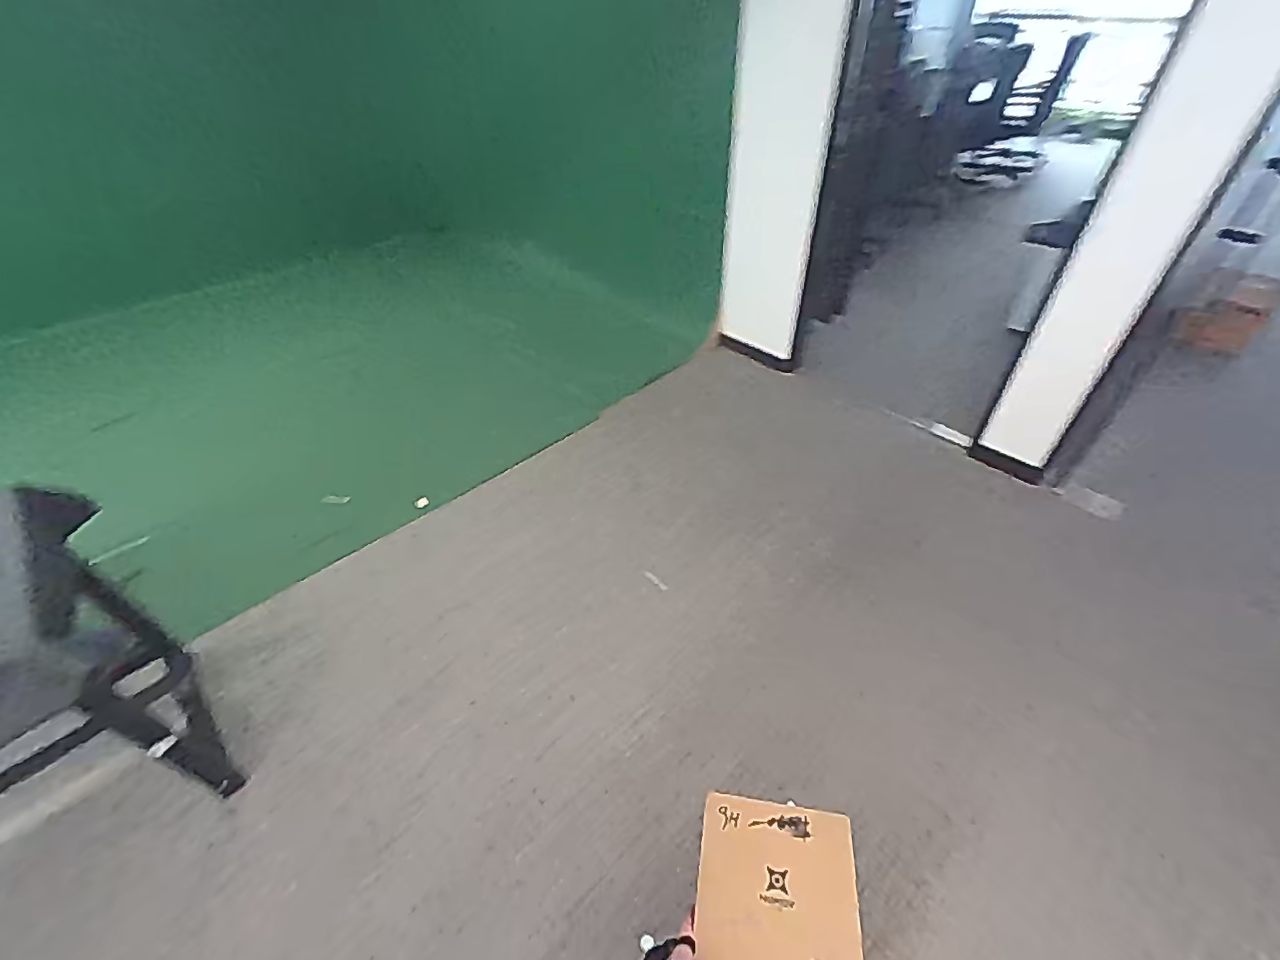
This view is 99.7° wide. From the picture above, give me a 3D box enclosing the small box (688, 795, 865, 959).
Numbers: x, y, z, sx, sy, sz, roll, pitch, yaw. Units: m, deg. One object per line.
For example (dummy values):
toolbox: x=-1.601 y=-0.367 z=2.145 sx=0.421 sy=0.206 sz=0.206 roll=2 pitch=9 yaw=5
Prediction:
small box: x=0.145 y=0.488 z=0.596 sx=0.168 sy=0.176 sz=0.179 roll=4 pitch=37 yaw=12
